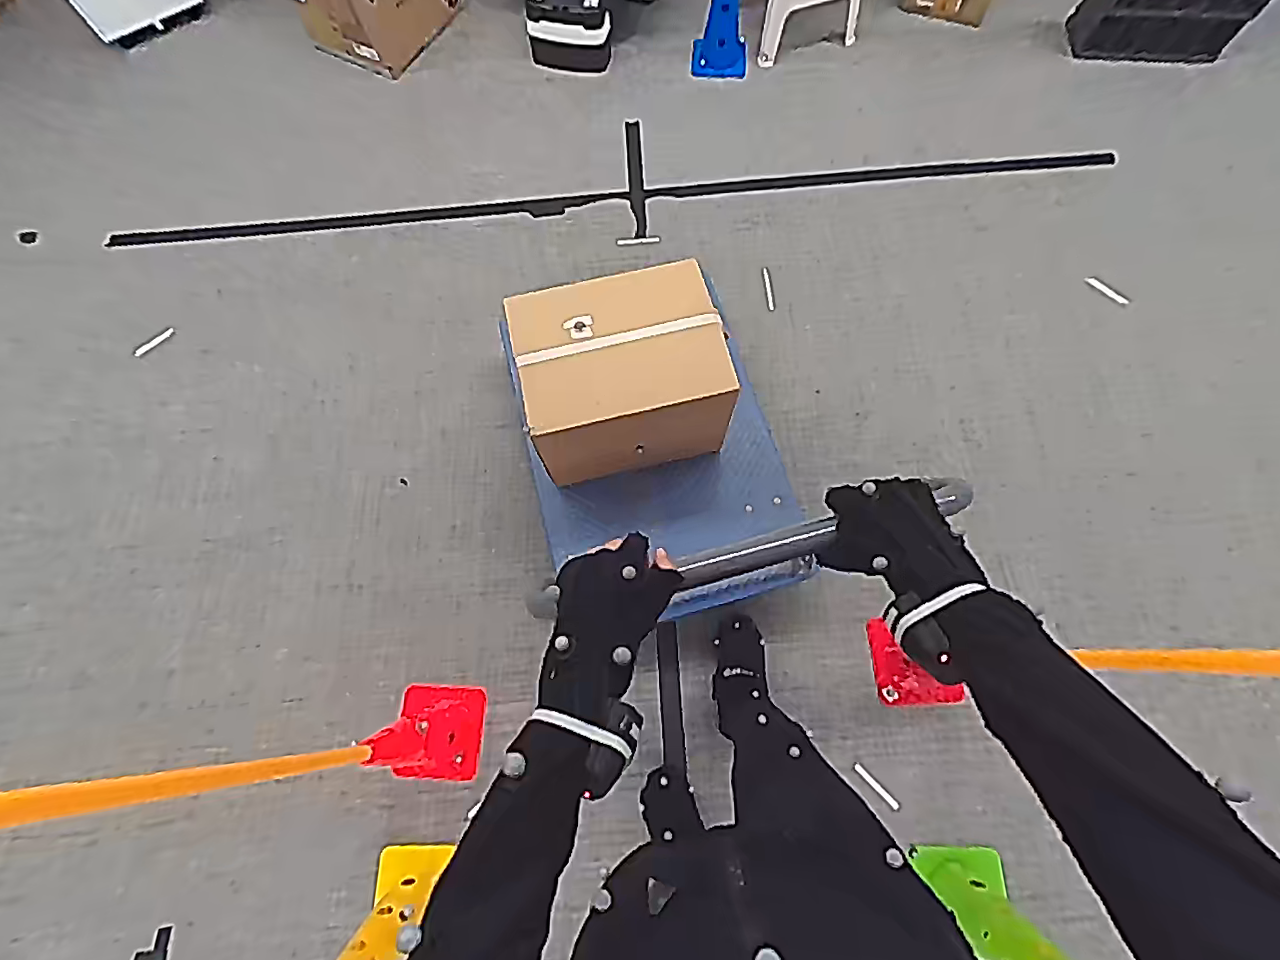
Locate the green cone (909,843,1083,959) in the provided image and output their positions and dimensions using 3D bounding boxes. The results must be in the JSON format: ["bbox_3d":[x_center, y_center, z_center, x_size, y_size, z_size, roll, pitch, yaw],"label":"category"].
[{"bbox_3d":[0.672,0.816,0.965,0.202,0.368,0.200,-1,70,0],"label":"green cone"}]

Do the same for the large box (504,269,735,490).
[{"bbox_3d":[-0.042,-0.204,1.201,0.408,0.320,0.320,-14,71,-3],"label":"large box"}]

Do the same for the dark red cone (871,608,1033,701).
[{"bbox_3d":[0.656,0.353,1.112,0.201,0.394,0.202,-4,71,-2],"label":"dark red cone"}]

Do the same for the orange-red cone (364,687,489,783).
[{"bbox_3d":[-0.464,0.533,1.107,0.198,0.360,0.199,3,69,2],"label":"orange-red cone"}]
